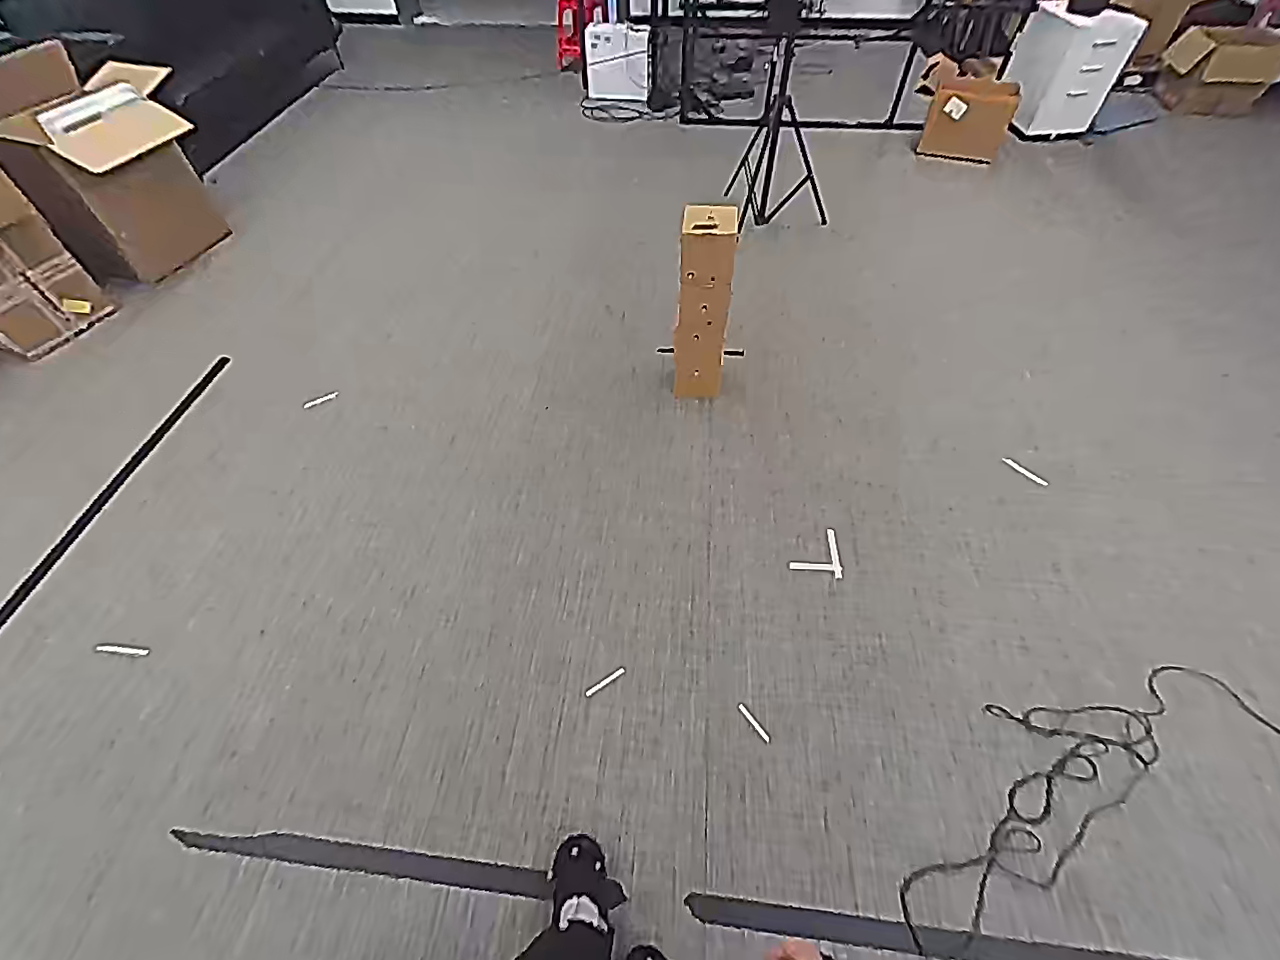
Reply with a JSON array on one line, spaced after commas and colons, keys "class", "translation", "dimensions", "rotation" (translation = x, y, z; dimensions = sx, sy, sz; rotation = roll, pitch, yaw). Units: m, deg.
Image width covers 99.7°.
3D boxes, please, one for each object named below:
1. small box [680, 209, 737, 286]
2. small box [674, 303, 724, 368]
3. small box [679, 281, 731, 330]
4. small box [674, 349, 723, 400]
[{"class": "small box", "translation": [0.215, -0.729, 1.704], "dimensions": [0.168, 0.176, 0.179], "rotation": [4, 52, 5]}, {"class": "small box", "translation": [0.216, -0.525, 1.961], "dimensions": [0.179, 0.176, 0.168], "rotation": [6, 54, 6]}, {"class": "small box", "translation": [0.222, -0.627, 1.833], "dimensions": [0.168, 0.176, 0.179], "rotation": [5, 54, 5]}, {"class": "small box", "translation": [0.226, -0.427, 2.093], "dimensions": [0.179, 0.176, 0.168], "rotation": [4, 53, 4]}]
